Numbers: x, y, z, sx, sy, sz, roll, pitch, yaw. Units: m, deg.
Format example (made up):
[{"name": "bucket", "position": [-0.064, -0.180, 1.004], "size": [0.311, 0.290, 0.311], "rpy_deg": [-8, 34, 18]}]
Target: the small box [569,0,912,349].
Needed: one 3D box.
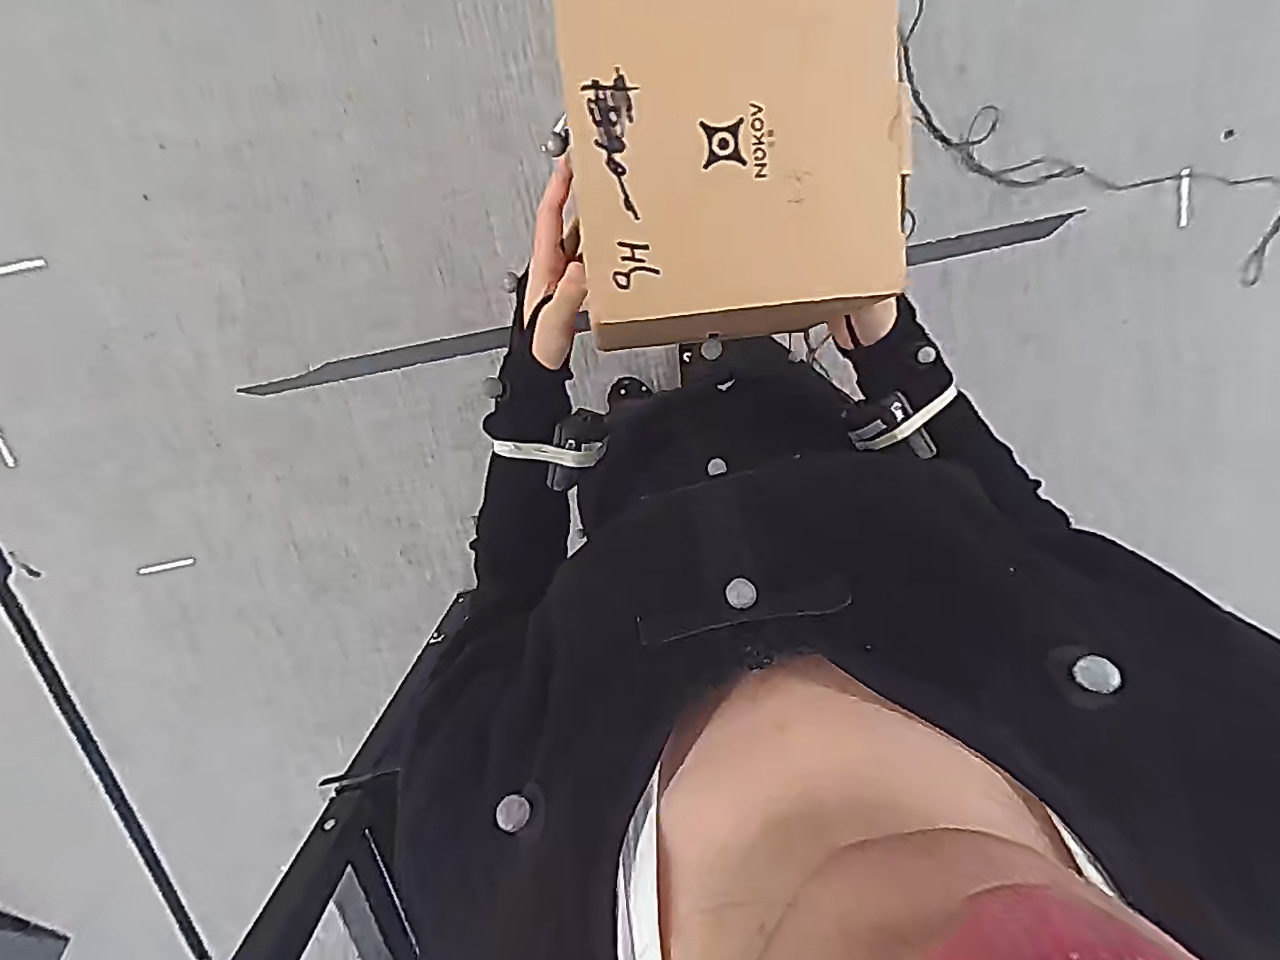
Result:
[{"name": "small box", "position": [0.050, -0.183, 0.359], "size": [0.179, 0.176, 0.168], "rpy_deg": [-6, 99, -3]}]
